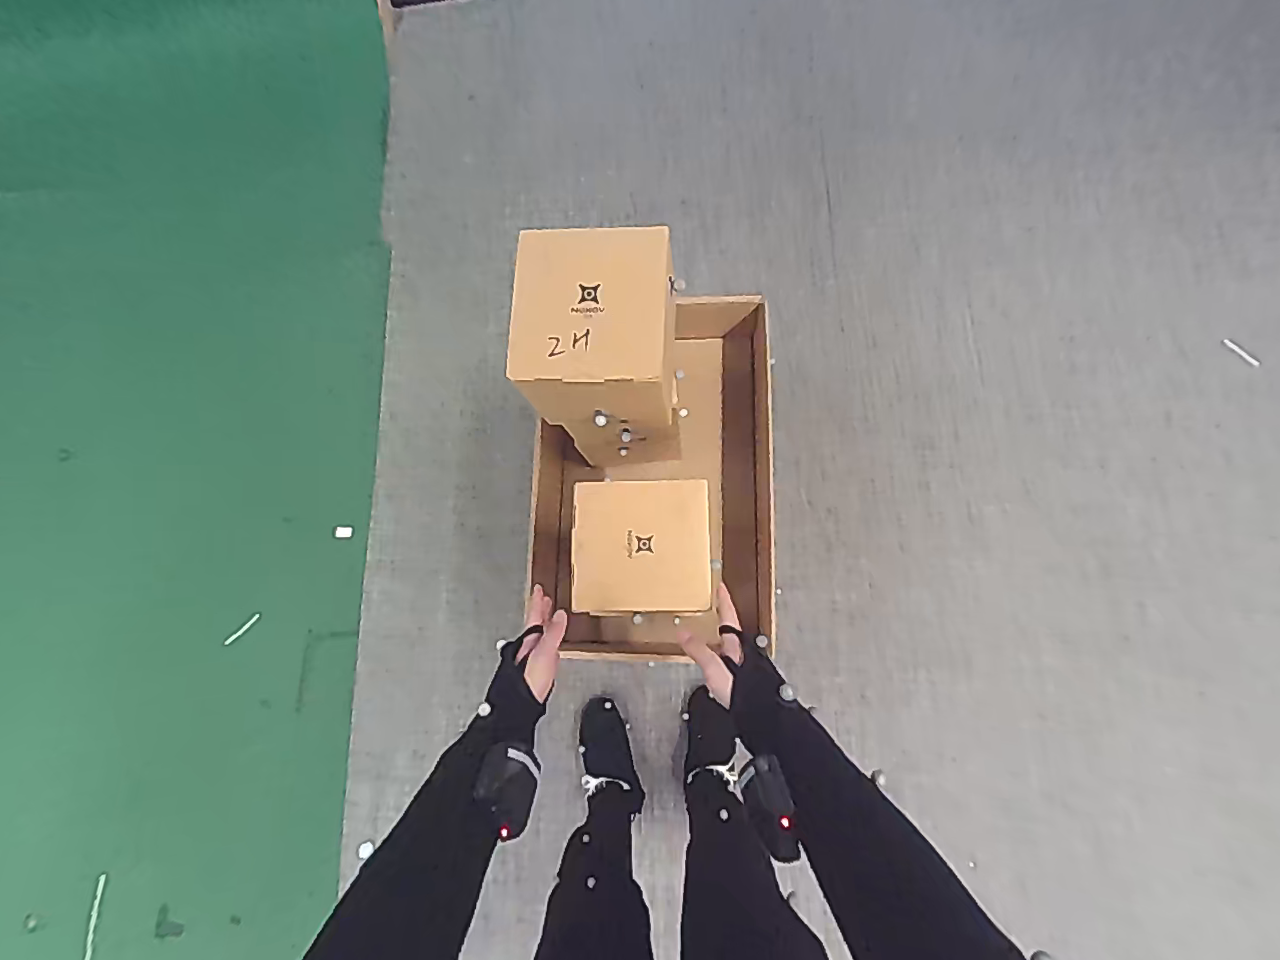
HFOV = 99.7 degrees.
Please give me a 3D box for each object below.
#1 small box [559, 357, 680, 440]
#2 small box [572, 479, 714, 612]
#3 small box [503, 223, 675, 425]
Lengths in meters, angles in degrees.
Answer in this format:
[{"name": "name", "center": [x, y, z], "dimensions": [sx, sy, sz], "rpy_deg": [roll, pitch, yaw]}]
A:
[{"name": "small box", "center": [-0.031, -0.161, 0.804], "dimensions": [0.168, 0.176, 0.179], "rpy_deg": [-6, 80, 5]}, {"name": "small box", "center": [0.010, 0.096, 0.750], "dimensions": [0.179, 0.176, 0.168], "rpy_deg": [-2, 77, 7]}, {"name": "small box", "center": [-0.048, -0.174, 0.639], "dimensions": [0.168, 0.176, 0.179], "rpy_deg": [2, 81, 7]}]
